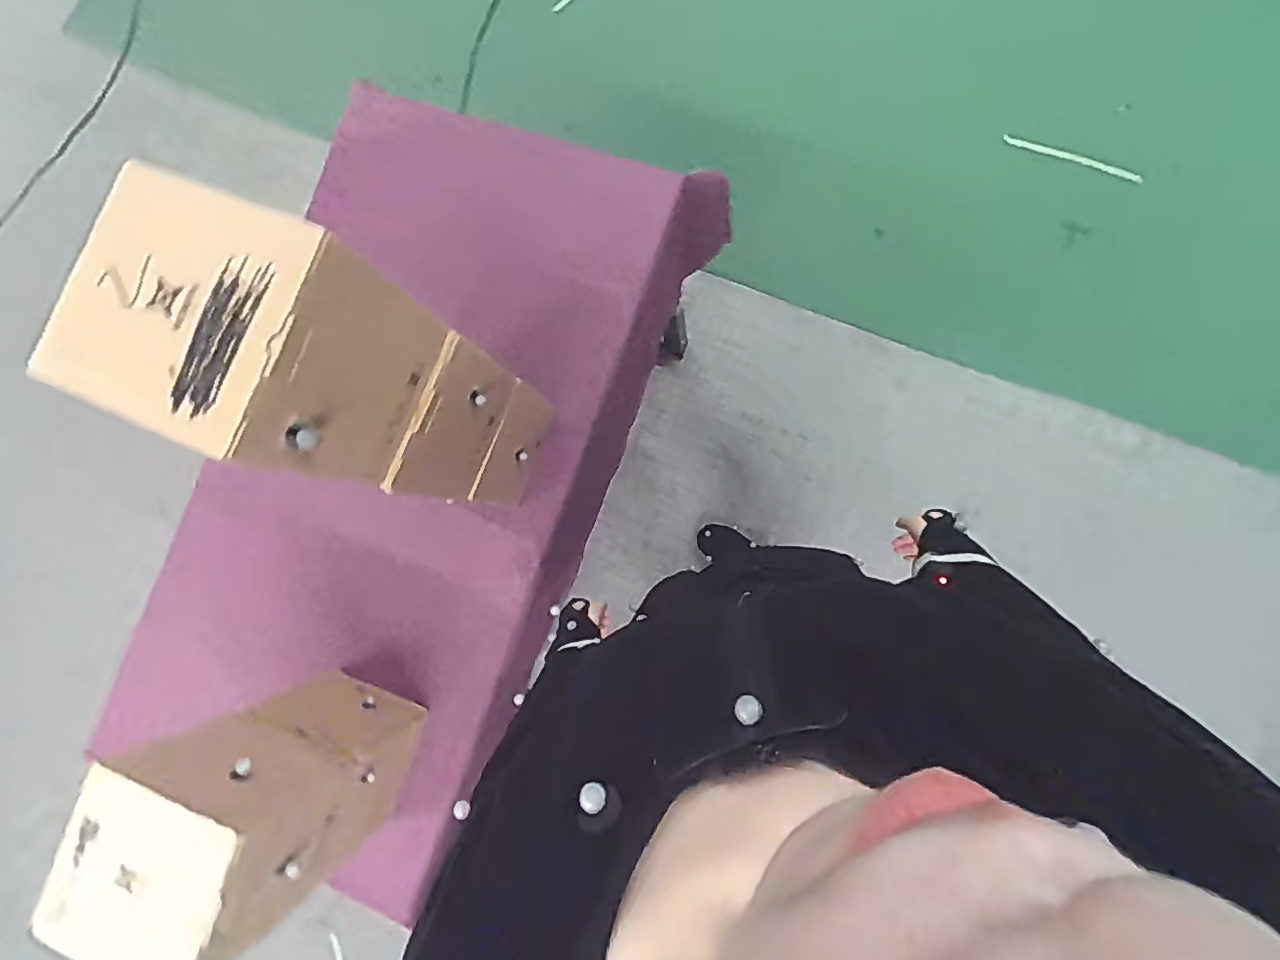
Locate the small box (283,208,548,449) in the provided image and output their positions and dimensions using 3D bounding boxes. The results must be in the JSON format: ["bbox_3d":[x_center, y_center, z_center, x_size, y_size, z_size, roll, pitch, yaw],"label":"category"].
[{"bbox_3d":[-0.228,-0.150,0.602,0.179,0.176,0.168,36,88,9],"label":"small box"}]
